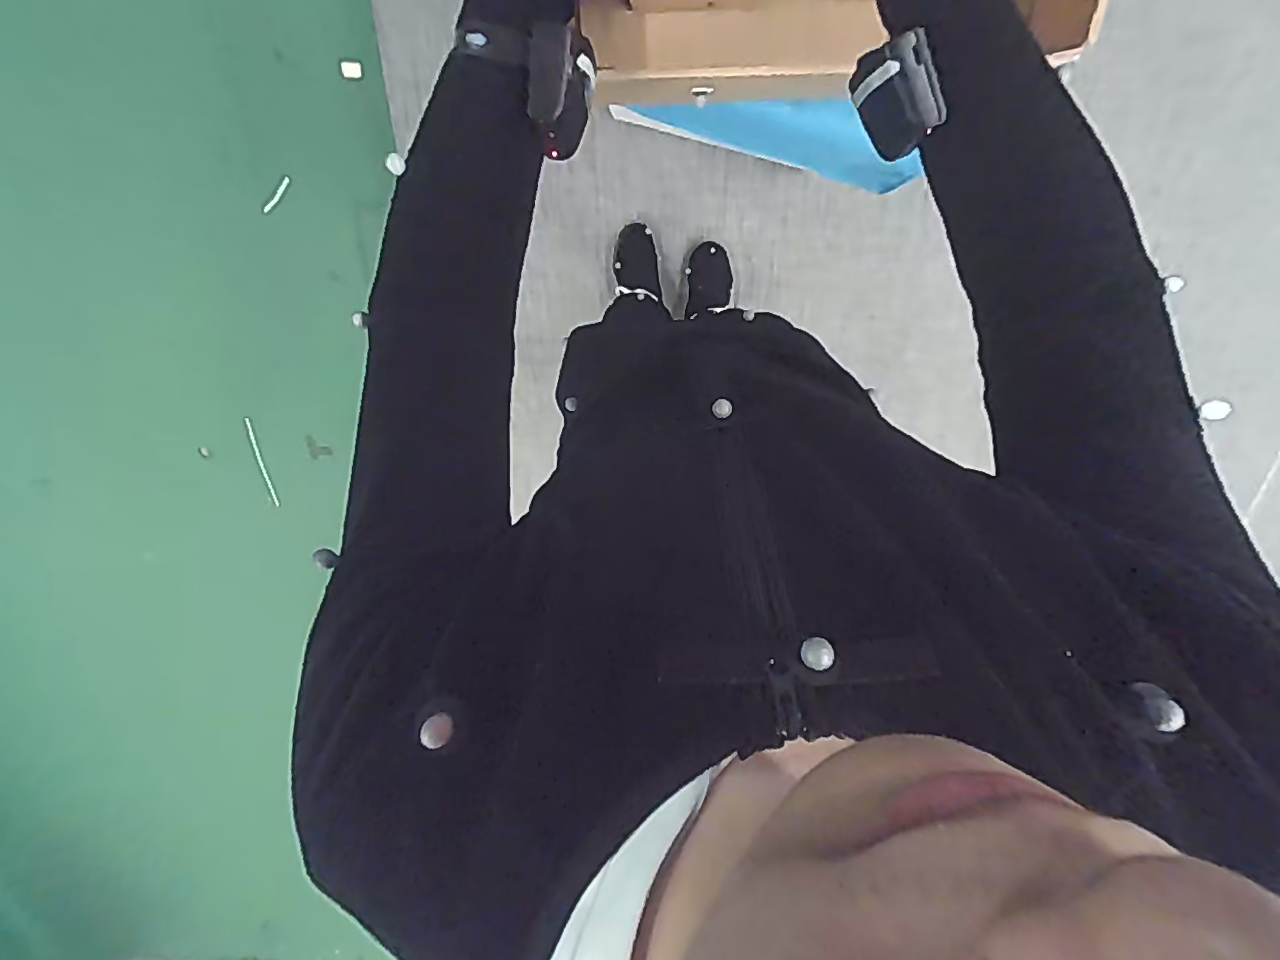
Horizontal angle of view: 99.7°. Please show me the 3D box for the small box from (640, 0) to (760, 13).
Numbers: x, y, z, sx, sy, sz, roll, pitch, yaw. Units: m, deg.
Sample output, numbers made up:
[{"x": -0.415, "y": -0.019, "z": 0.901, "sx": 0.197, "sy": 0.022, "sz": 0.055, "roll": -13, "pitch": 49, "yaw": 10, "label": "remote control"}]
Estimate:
[{"x": 0.072, "y": -0.661, "z": 0.598, "sx": 0.168, "sy": 0.176, "sz": 0.179, "roll": 0, "pitch": 114, "yaw": 3, "label": "small box"}]
